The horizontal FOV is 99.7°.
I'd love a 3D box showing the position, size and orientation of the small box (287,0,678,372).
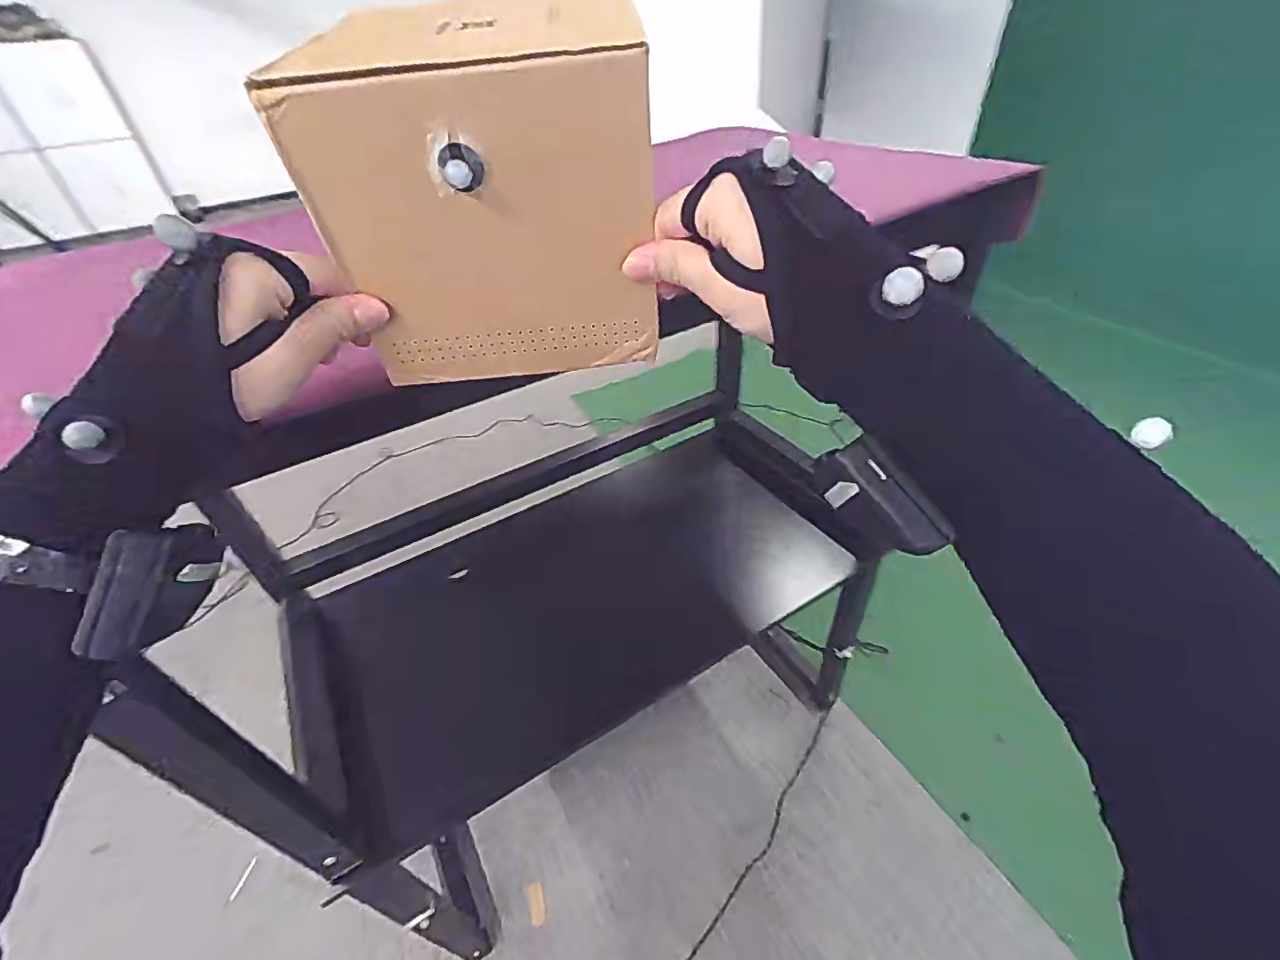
[{"bbox_3d":[-0.070,-0.184,0.350,0.179,0.176,0.168,-5,48,0],"label":"small box"}]
